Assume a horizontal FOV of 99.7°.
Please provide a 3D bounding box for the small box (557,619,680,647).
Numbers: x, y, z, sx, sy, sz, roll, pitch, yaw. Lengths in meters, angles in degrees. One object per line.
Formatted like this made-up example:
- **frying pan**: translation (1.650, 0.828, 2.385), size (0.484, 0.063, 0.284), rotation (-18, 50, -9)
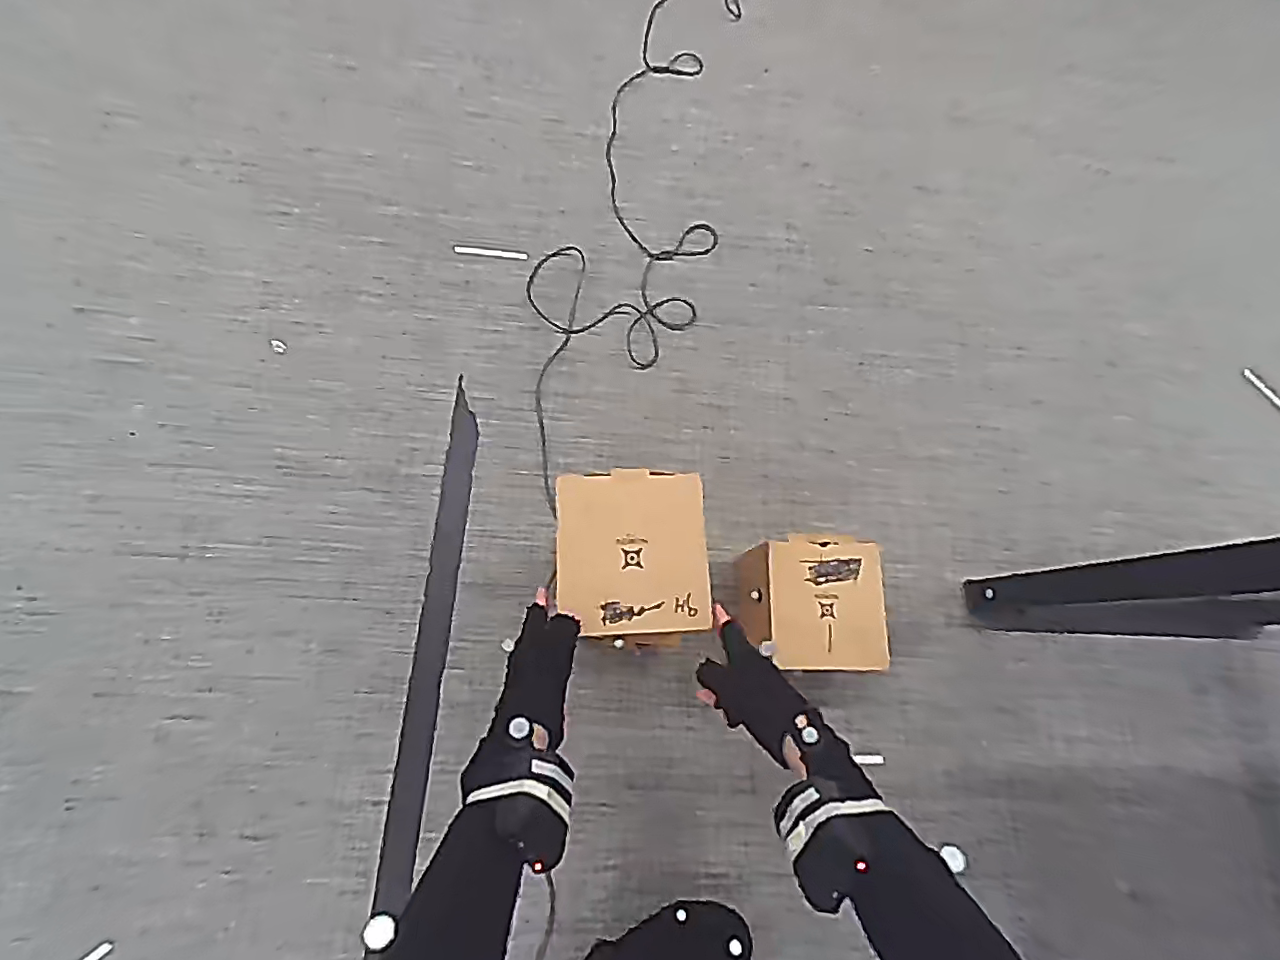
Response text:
- **small box**: translation (-0.025, 0.149, 0.810), size (0.168, 0.176, 0.179), rotation (9, 72, -4)

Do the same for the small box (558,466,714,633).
- **small box**: translation (-0.015, 0.092, 0.656), size (0.168, 0.176, 0.179), rotation (-1, 74, -6)

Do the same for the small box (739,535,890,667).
- **small box**: translation (0.251, 0.187, 0.822), size (0.168, 0.176, 0.179), rotation (3, 74, -5)
